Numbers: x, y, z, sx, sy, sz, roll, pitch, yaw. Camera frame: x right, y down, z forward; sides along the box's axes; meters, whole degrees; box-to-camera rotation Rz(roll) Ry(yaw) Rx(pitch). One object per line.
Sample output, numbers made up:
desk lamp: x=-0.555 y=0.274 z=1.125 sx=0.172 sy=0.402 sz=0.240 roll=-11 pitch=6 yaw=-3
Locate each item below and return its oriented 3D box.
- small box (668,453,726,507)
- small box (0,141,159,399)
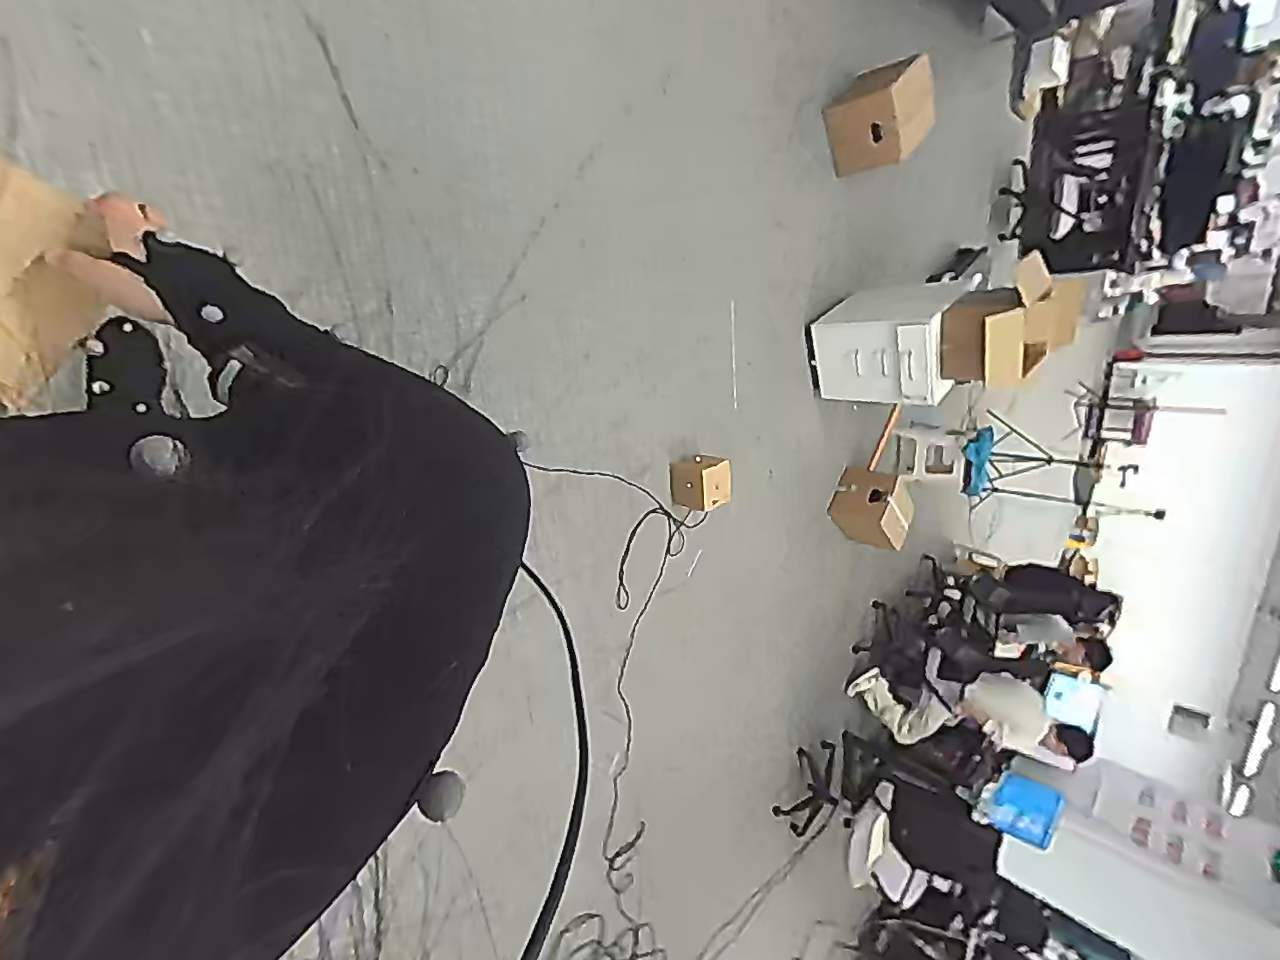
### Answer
small box: x=0.228 y=-0.008 z=2.185 sx=0.168 sy=0.176 sz=0.179 roll=-22 pitch=113 yaw=-39
small box: x=-0.548 y=-0.182 z=0.437 sx=0.179 sy=0.176 sz=0.168 roll=38 pitch=72 yaw=-45
